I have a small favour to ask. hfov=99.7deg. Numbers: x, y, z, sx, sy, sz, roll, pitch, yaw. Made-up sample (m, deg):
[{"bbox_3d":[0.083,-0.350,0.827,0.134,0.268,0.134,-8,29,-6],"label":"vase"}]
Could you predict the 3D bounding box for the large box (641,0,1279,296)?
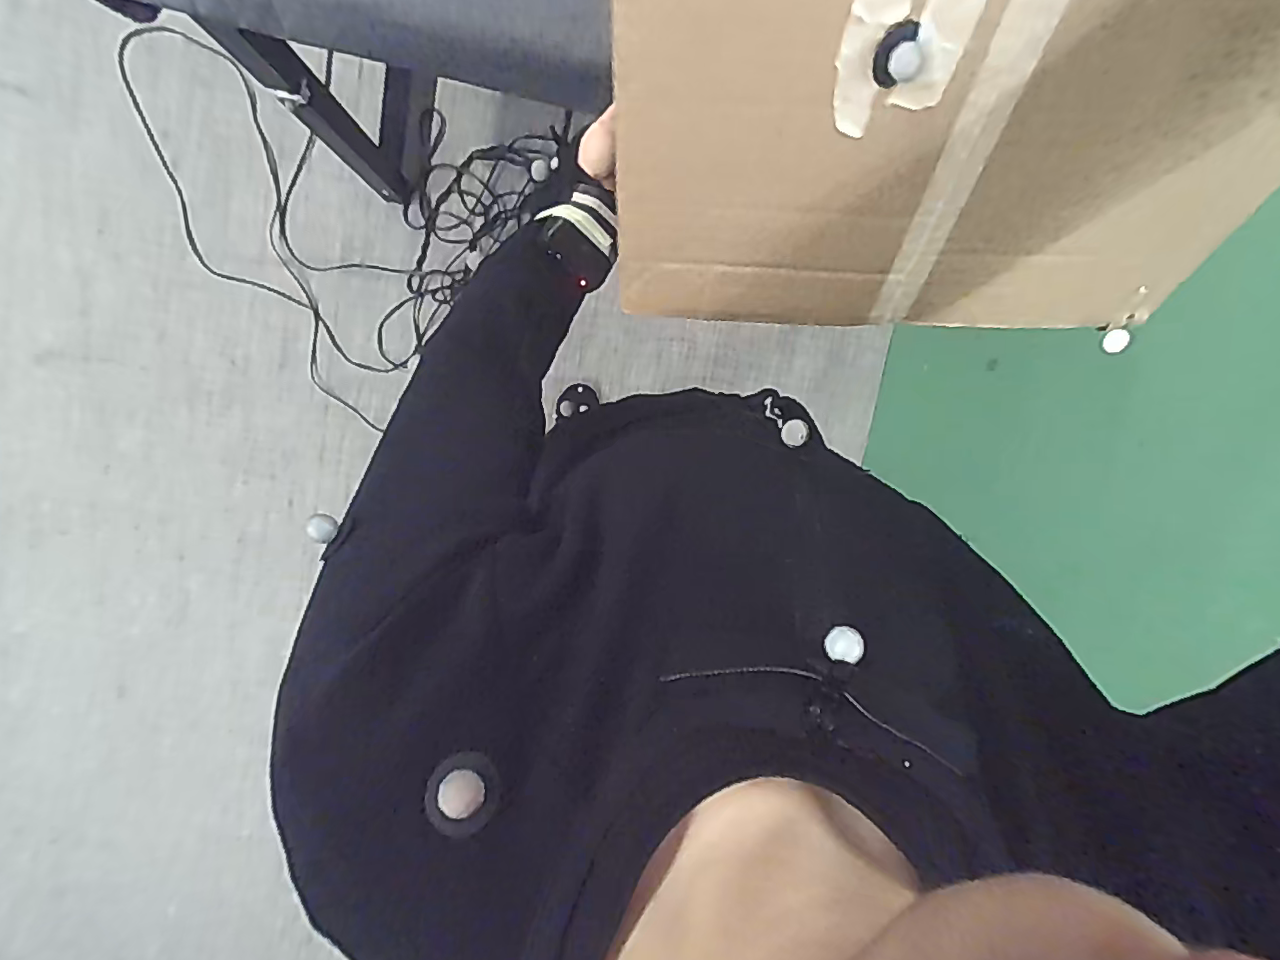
[{"bbox_3d":[0.156,-0.351,0.251,0.320,0.408,0.320,1,58,1],"label":"large box"}]
